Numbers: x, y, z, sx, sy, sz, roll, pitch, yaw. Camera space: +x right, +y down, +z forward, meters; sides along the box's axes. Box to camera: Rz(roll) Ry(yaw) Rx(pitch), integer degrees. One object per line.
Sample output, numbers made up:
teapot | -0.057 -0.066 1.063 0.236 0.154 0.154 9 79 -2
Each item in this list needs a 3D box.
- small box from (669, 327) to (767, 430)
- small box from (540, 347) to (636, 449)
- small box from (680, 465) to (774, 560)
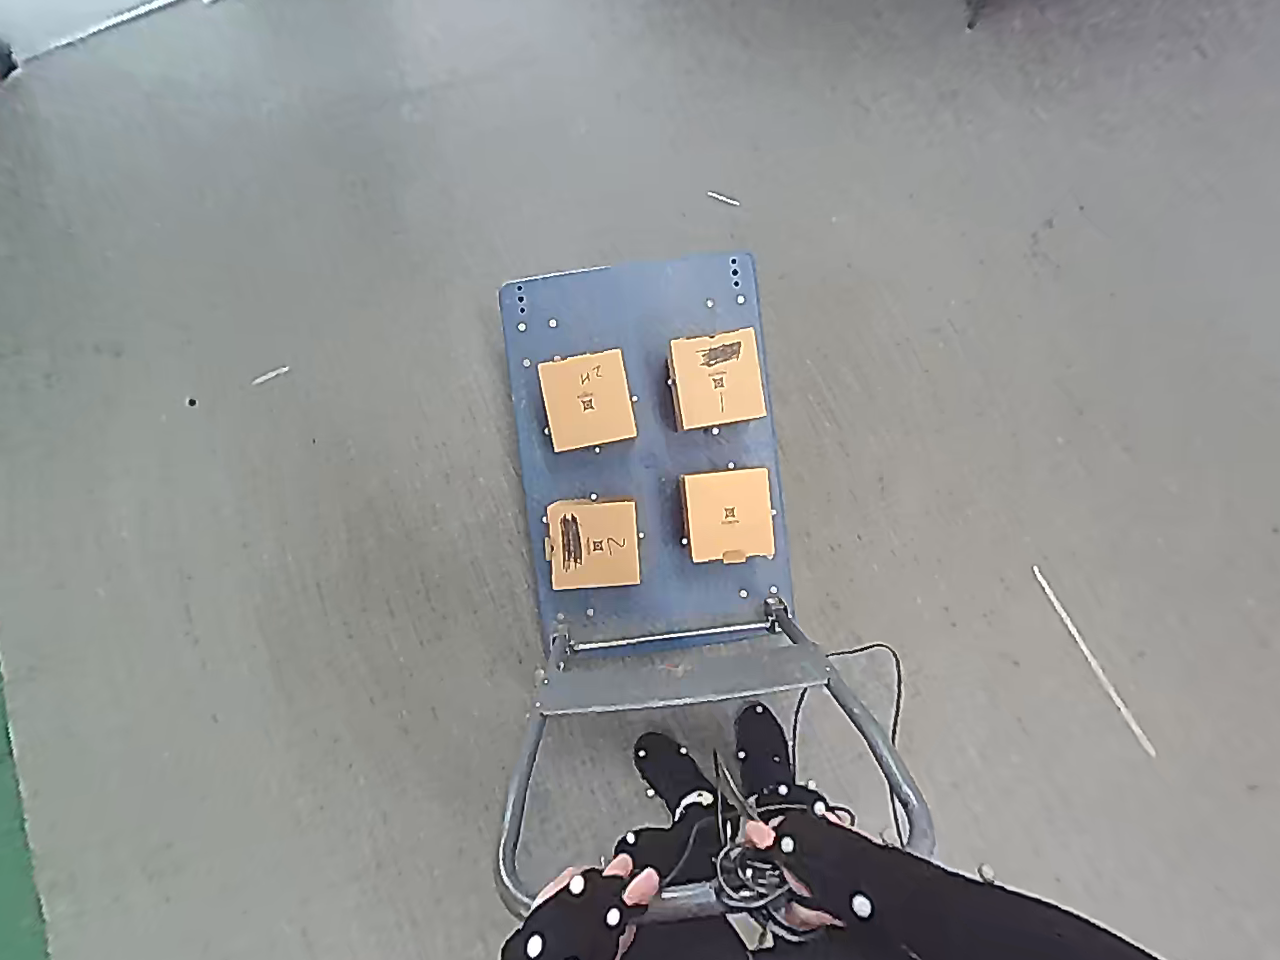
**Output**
small box | 0.155 -0.203 1.120 0.168 0.176 0.179 -8 94 1
small box | -0.100 -0.164 1.123 0.168 0.176 0.179 -10 93 0
small box | 0.175 0.061 1.135 0.168 0.176 0.179 -5 94 1
